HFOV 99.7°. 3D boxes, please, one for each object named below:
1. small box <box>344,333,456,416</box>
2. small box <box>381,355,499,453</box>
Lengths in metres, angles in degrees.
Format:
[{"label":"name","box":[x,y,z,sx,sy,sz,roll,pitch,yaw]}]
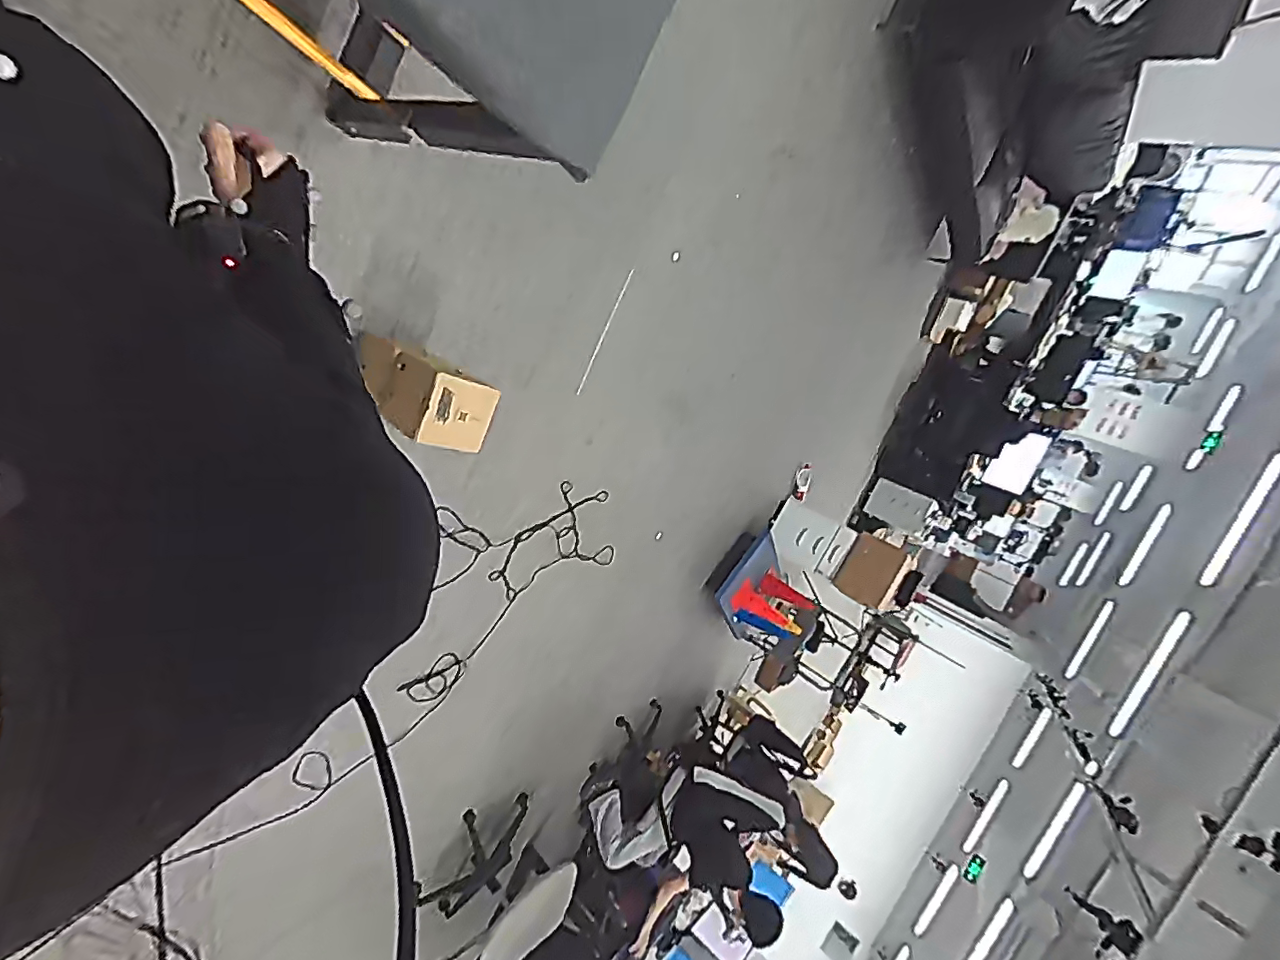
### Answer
[{"label":"small box","box":[-0.598,-0.251,1.350,0.179,0.176,0.168,9,106,-54]},{"label":"small box","box":[-0.472,-0.180,1.270,0.179,0.176,0.168,10,107,-56]}]
